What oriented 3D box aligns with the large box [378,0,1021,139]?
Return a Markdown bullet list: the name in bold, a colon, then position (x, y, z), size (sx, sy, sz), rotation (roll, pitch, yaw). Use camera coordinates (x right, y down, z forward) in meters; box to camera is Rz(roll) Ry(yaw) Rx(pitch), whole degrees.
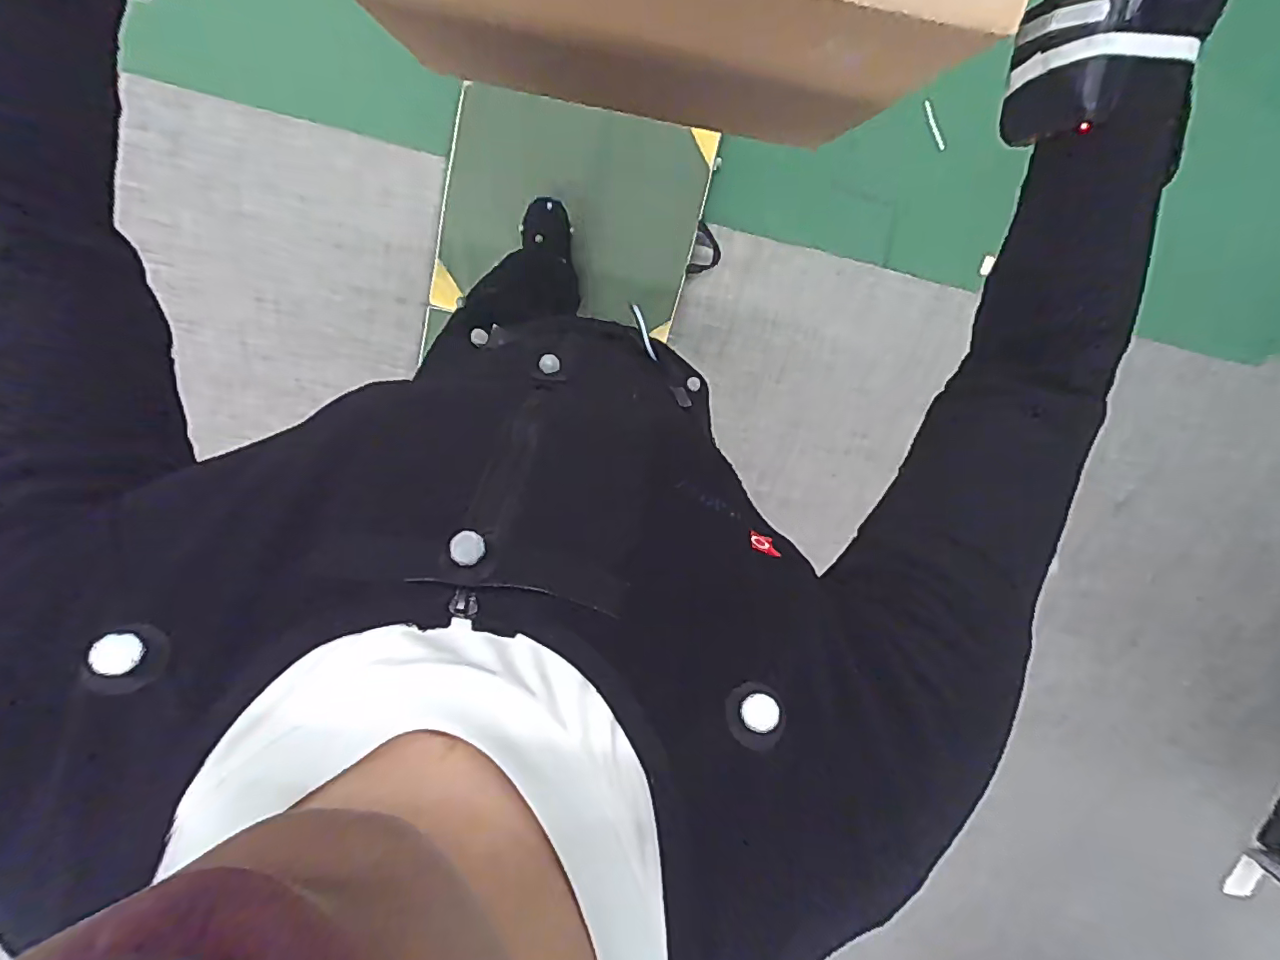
- **large box**: position (0.021, -0.465, 0.358), size (0.408, 0.320, 0.320), rotation (7, 112, -6)
